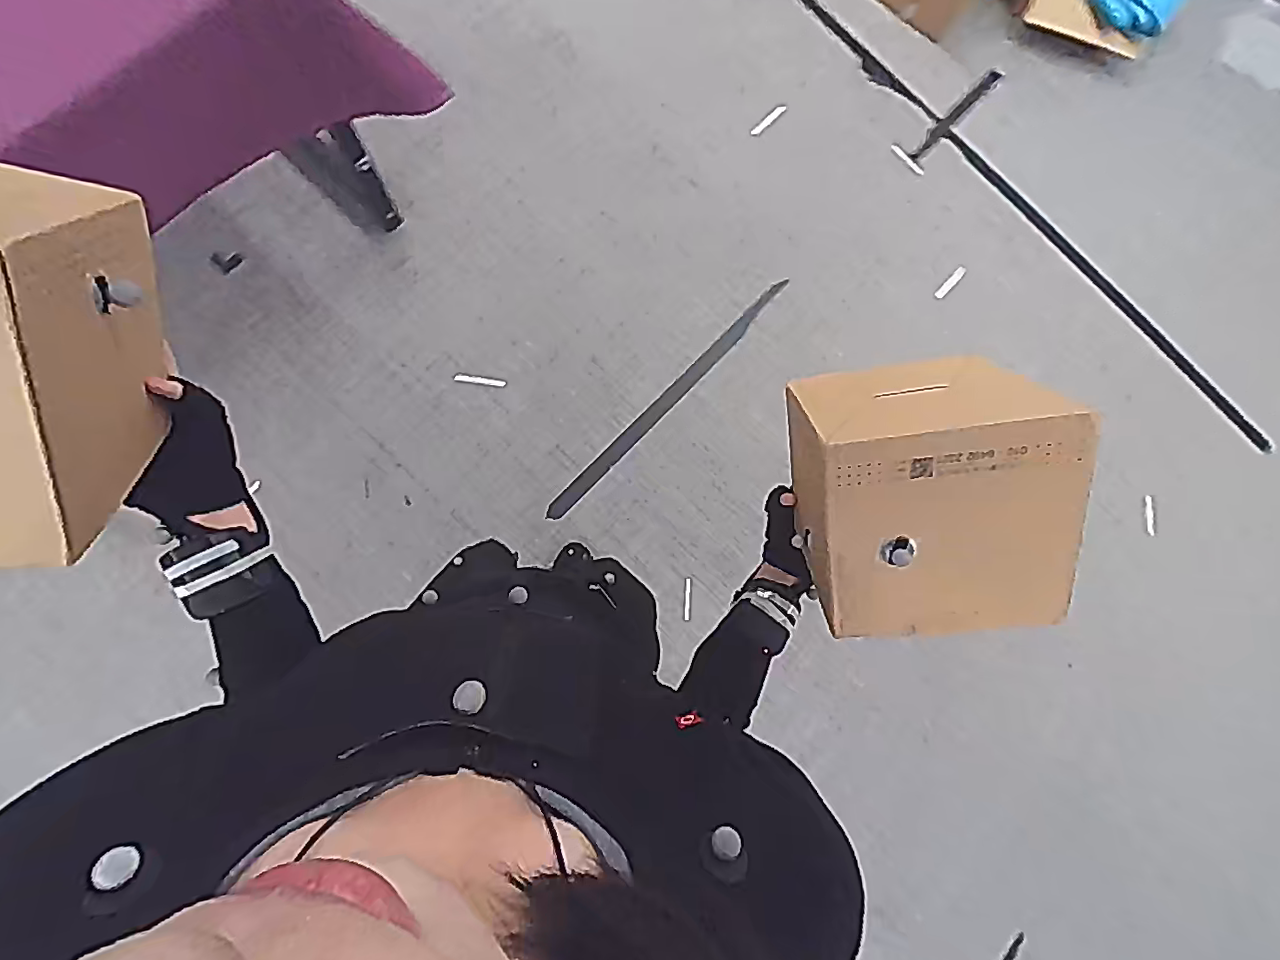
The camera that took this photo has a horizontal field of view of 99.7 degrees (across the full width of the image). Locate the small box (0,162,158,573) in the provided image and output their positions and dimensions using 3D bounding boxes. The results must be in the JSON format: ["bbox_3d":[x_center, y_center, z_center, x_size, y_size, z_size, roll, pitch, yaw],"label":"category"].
[{"bbox_3d":[-0.380,-0.069,0.266,0.168,0.179,0.176,3,119,-27],"label":"small box"}]

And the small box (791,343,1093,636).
[{"bbox_3d":[0.221,-0.003,0.438,0.168,0.179,0.176,-7,114,8],"label":"small box"}]
